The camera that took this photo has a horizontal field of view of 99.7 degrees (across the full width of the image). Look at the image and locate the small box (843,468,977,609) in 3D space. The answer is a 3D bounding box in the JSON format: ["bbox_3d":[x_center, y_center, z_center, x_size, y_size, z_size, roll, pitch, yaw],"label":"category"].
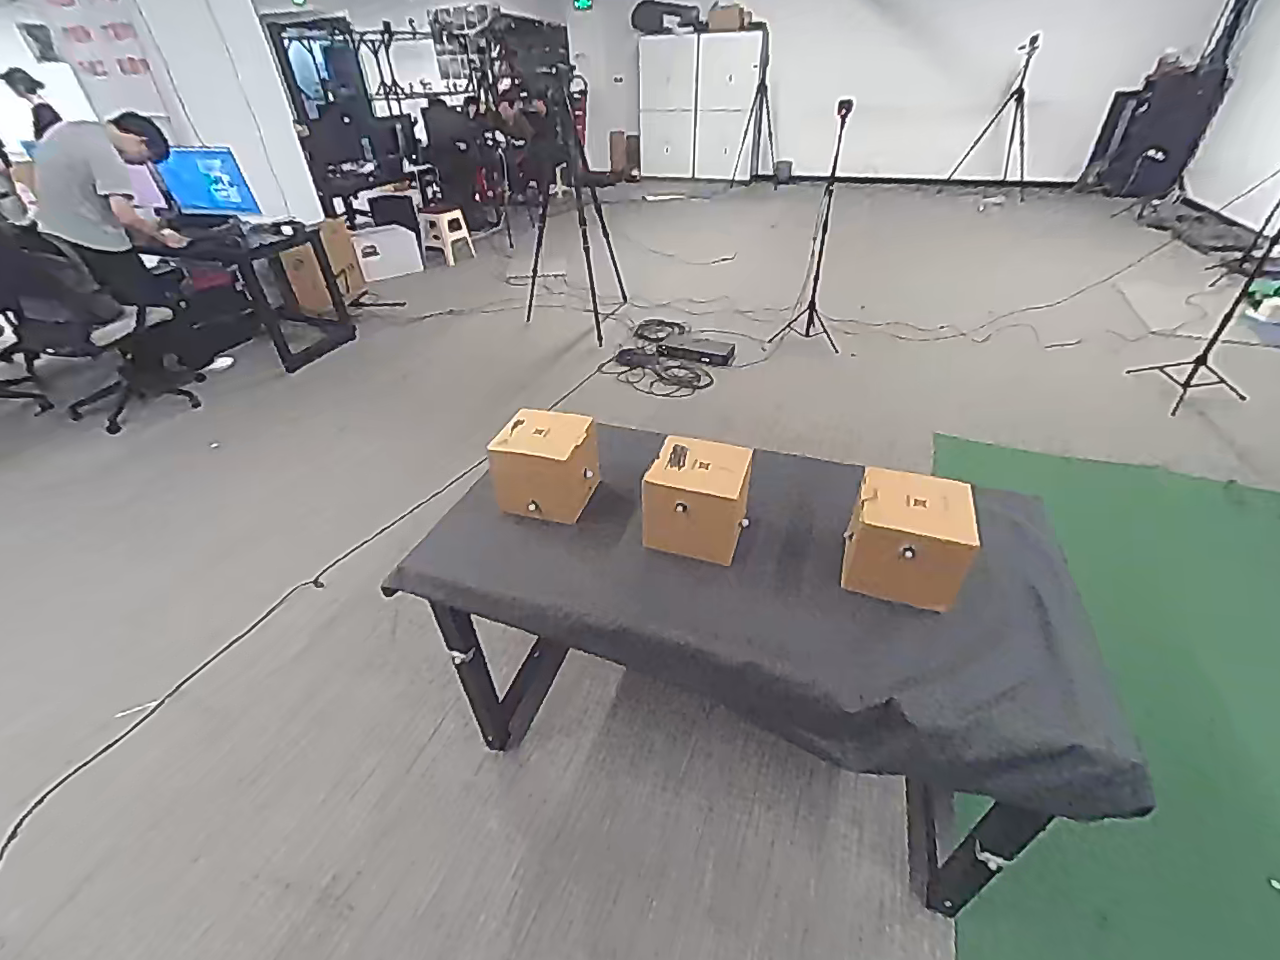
[{"bbox_3d":[0.472,0.105,0.969,0.179,0.176,0.168,12,40,17],"label":"small box"}]

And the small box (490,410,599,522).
[{"bbox_3d":[-0.195,-0.029,1.169,0.179,0.176,0.168,10,39,13],"label":"small box"}]

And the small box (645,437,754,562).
[{"bbox_3d":[0.117,0.038,1.068,0.179,0.176,0.168,11,39,16],"label":"small box"}]
